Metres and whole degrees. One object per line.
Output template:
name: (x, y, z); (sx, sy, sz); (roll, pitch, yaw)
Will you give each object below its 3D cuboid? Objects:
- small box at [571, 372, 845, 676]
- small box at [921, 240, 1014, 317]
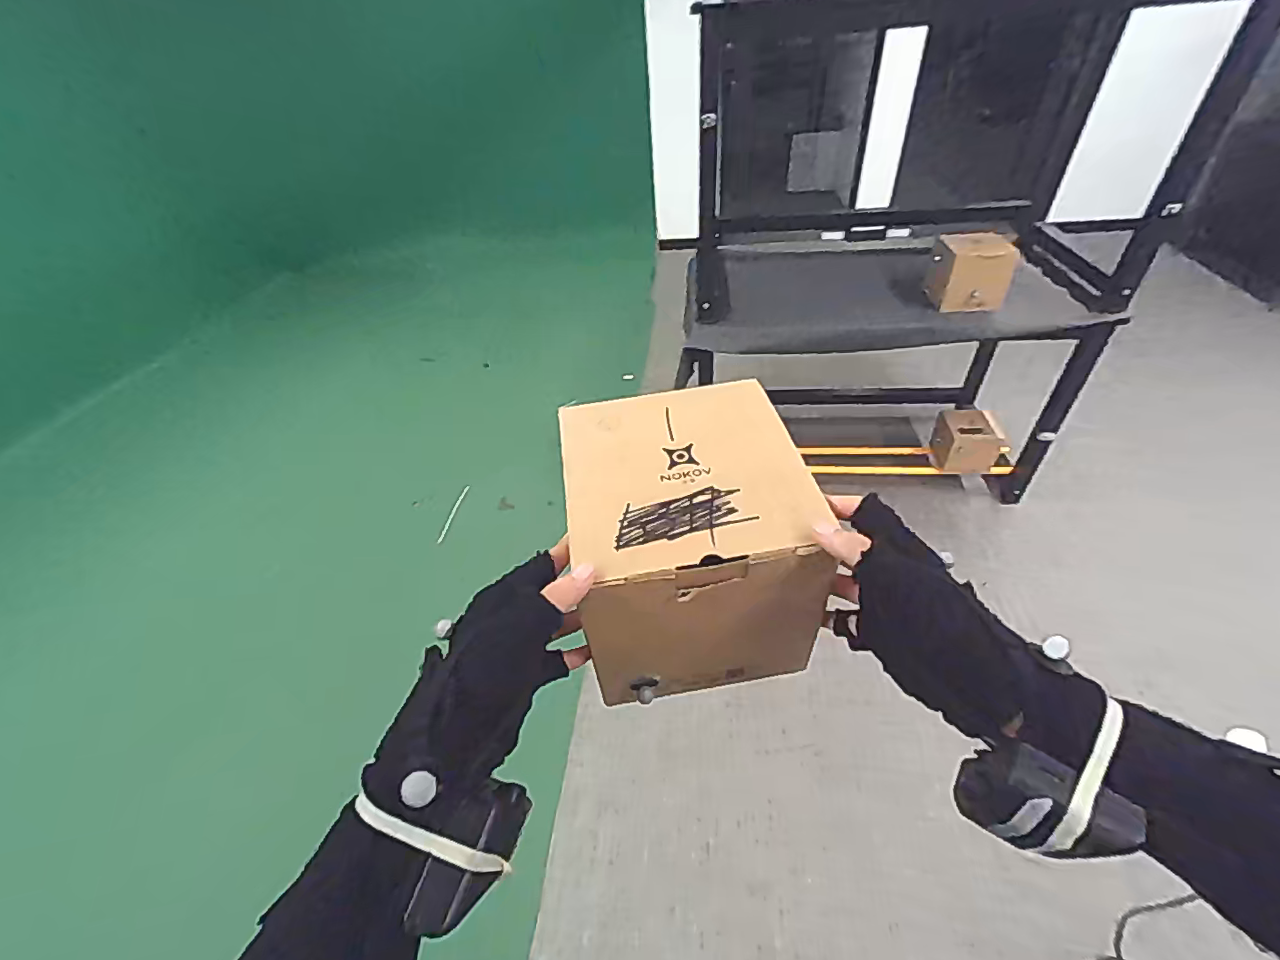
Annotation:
small box: (0.041, 0.039, 0.436); (0.168, 0.176, 0.179); (-9, 43, -3)
small box: (0.961, -0.599, 1.608); (0.168, 0.176, 0.179); (-1, 40, 7)
